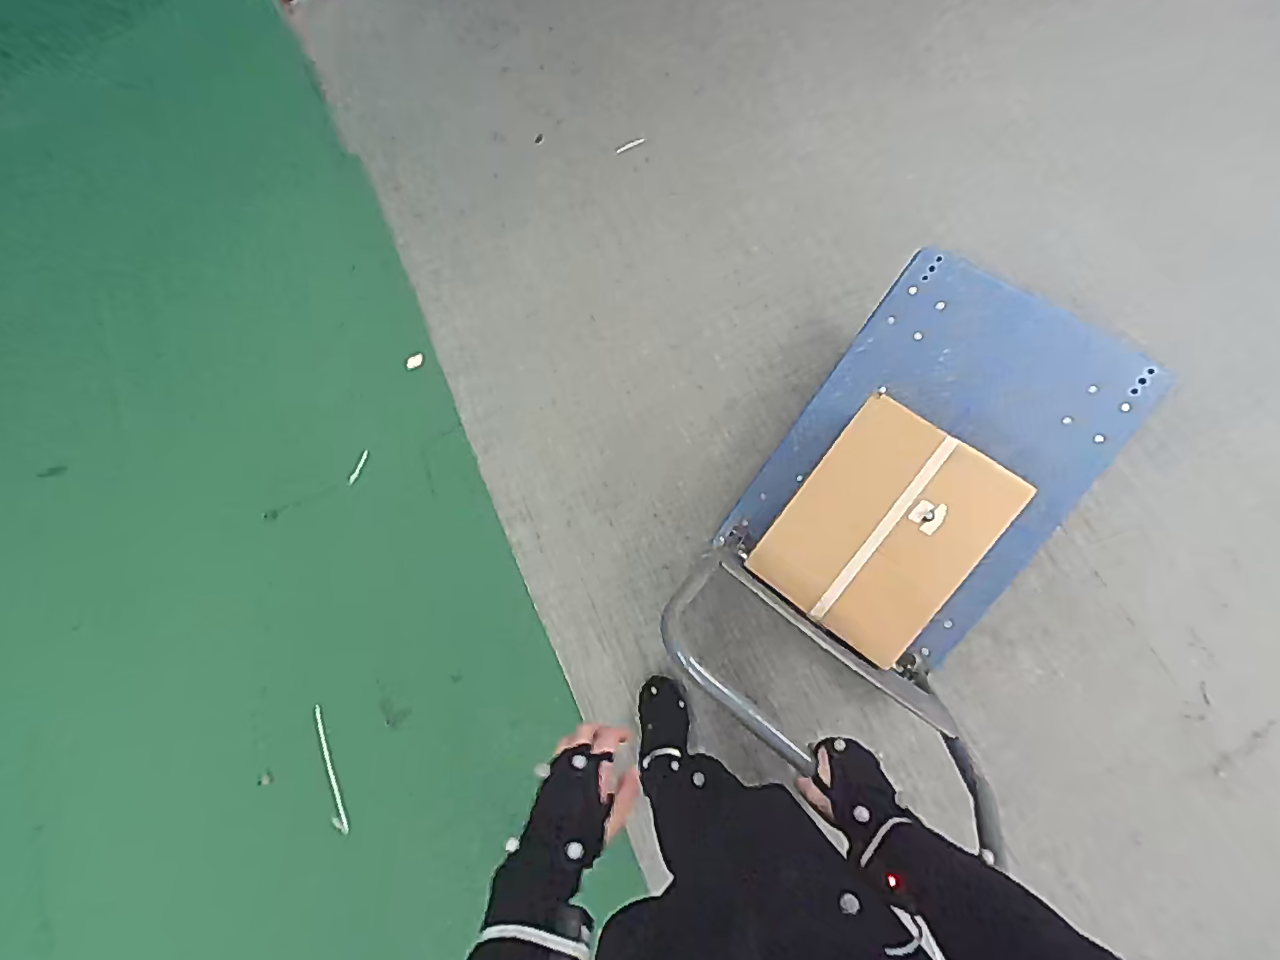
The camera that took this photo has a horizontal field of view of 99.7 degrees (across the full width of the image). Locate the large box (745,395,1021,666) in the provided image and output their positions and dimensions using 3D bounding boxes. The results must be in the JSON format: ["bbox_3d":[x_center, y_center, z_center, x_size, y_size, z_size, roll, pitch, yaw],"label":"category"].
[{"bbox_3d":[0.465,0.099,1.125,0.320,0.320,0.408,37,97,13],"label":"large box"}]
